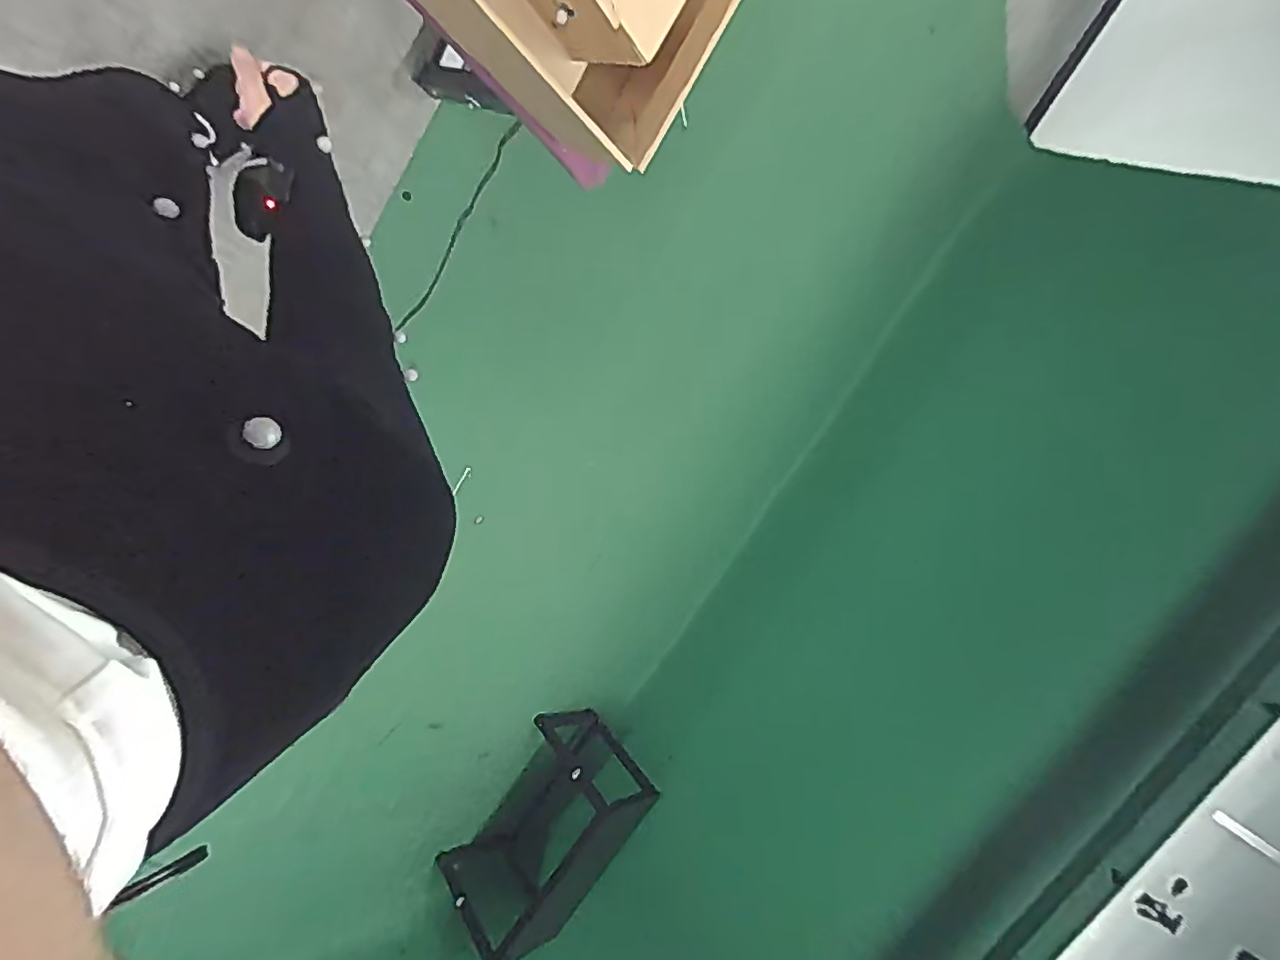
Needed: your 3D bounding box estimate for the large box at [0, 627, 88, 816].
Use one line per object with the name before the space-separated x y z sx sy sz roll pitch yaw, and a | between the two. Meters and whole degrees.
large box | -1.660 0.629 1.286 0.408 0.320 0.320 -21 136 -37
